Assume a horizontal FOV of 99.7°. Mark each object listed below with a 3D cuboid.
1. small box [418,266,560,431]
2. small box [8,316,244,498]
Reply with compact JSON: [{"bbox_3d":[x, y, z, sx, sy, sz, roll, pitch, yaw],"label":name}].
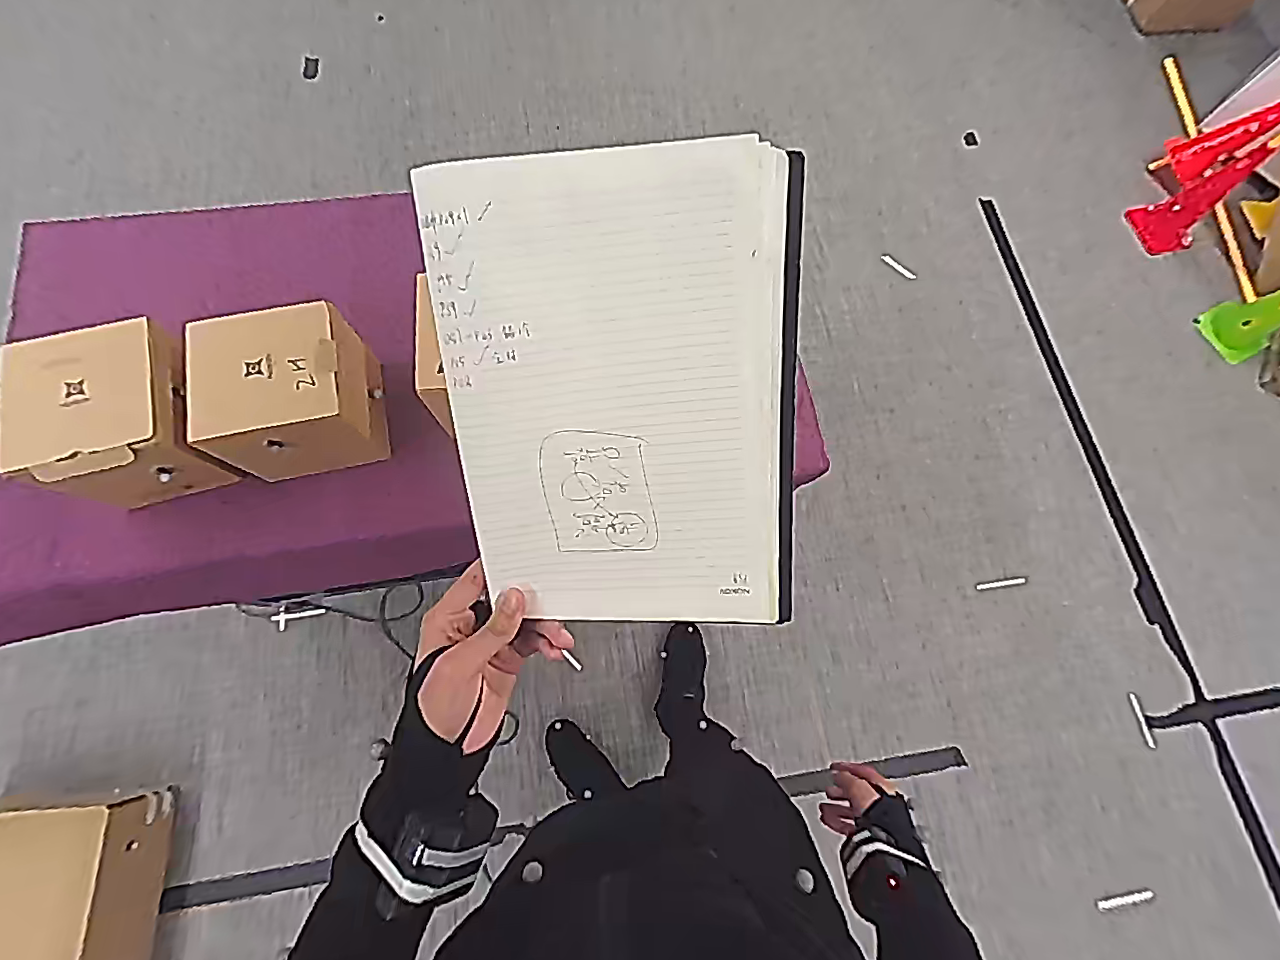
[{"bbox_3d":[-0.207,-0.178,0.778,0.168,0.176,0.179,-4,73,-5],"label":"small box"},{"bbox_3d":[-0.668,-0.085,0.724,0.168,0.176,0.179,-15,75,-9],"label":"small box"}]
